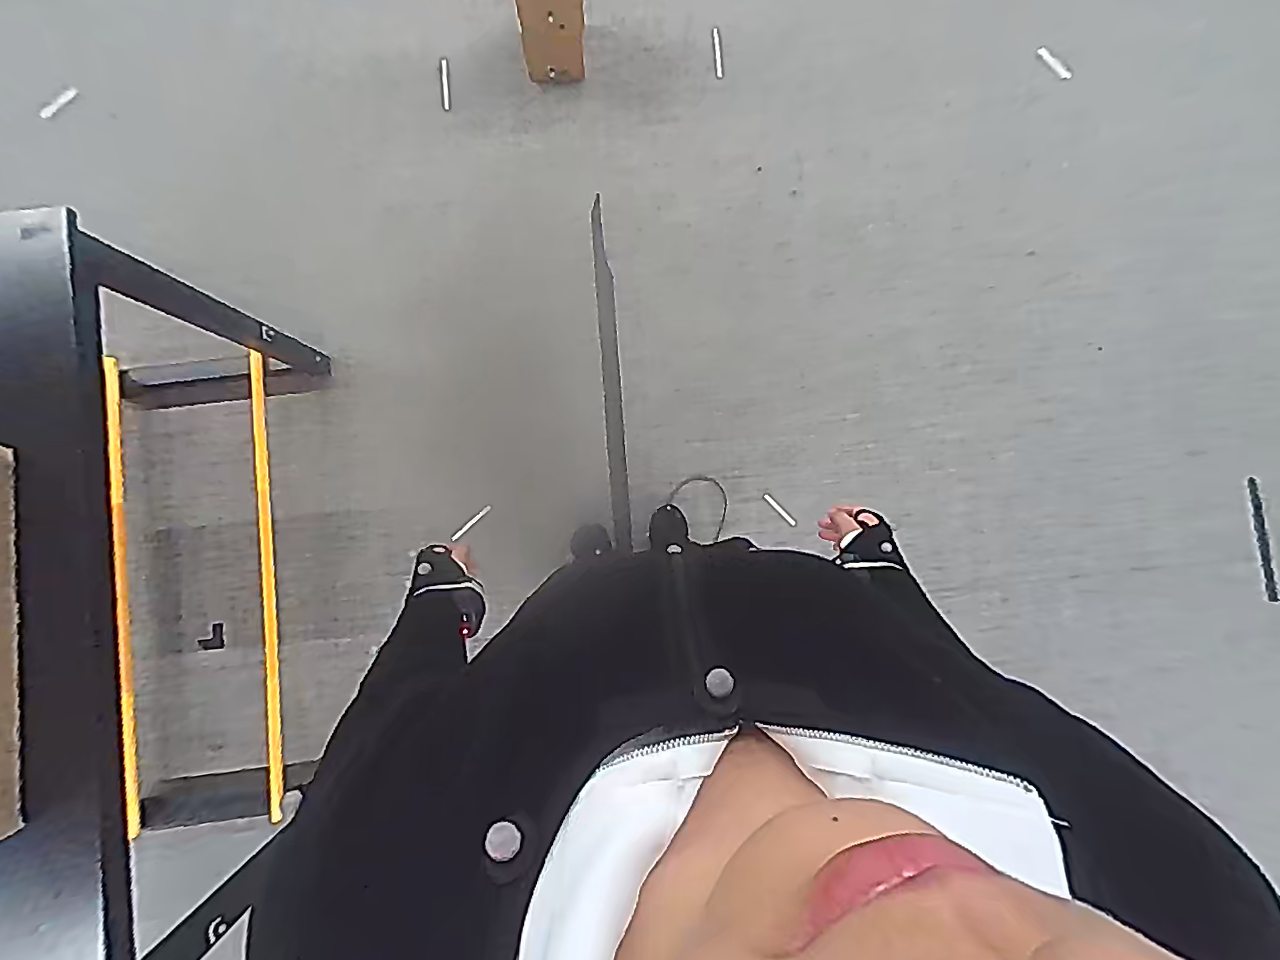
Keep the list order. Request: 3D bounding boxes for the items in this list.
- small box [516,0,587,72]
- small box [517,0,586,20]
[{"bbox_3d":[-0.231,-1.218,1.412,0.168,0.176,0.179,-6,88,-1],"label":"small box"},{"bbox_3d":[-0.217,-1.219,1.247,0.168,0.176,0.179,-5,87,-1],"label":"small box"}]
